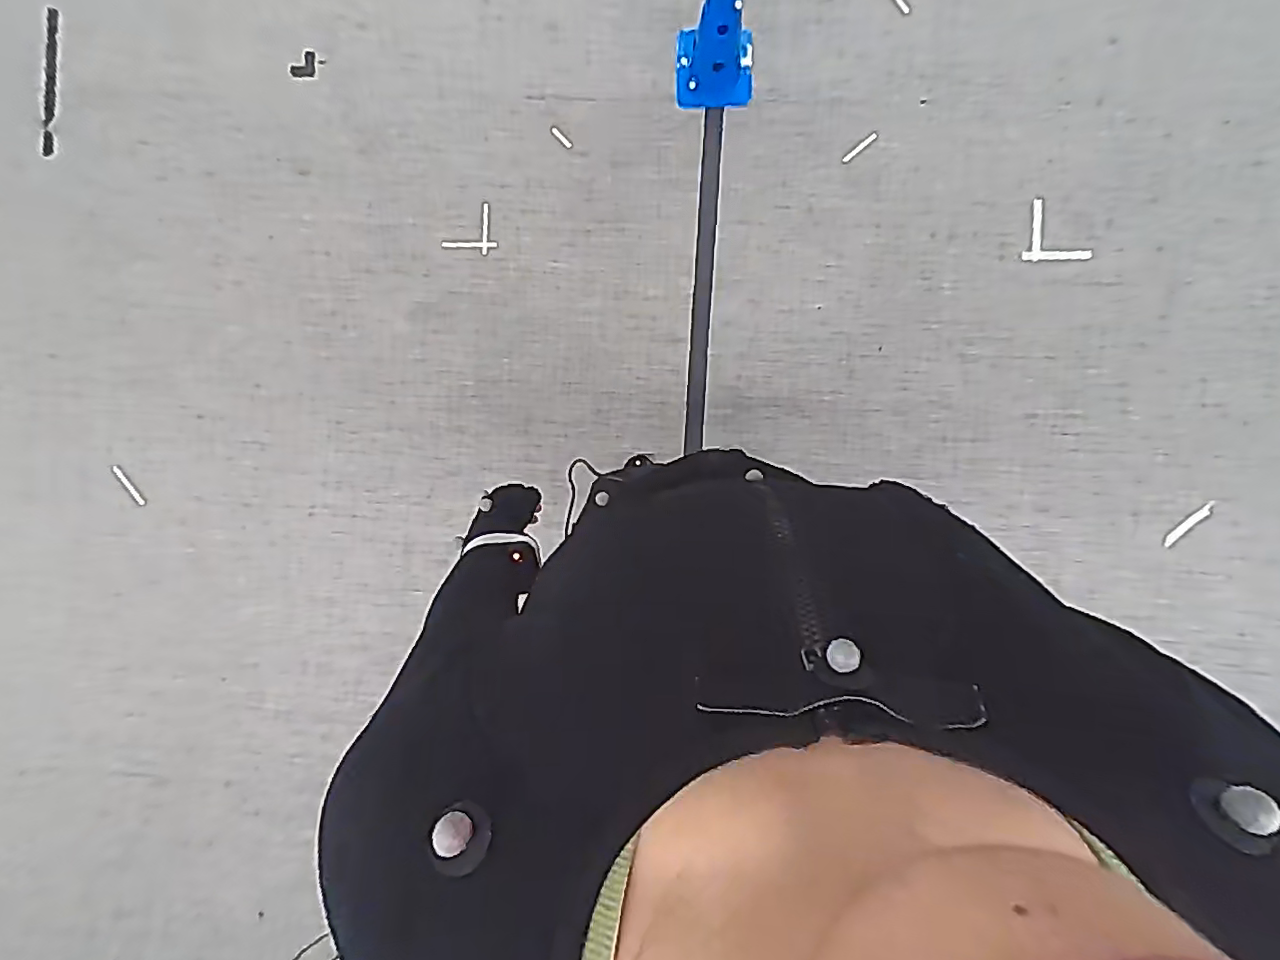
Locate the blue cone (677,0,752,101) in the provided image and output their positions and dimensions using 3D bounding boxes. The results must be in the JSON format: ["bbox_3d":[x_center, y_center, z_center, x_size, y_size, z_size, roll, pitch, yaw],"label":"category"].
[{"bbox_3d":[0.189,-1.078,1.239,0.192,0.380,0.193,-2,94,2],"label":"blue cone"}]
